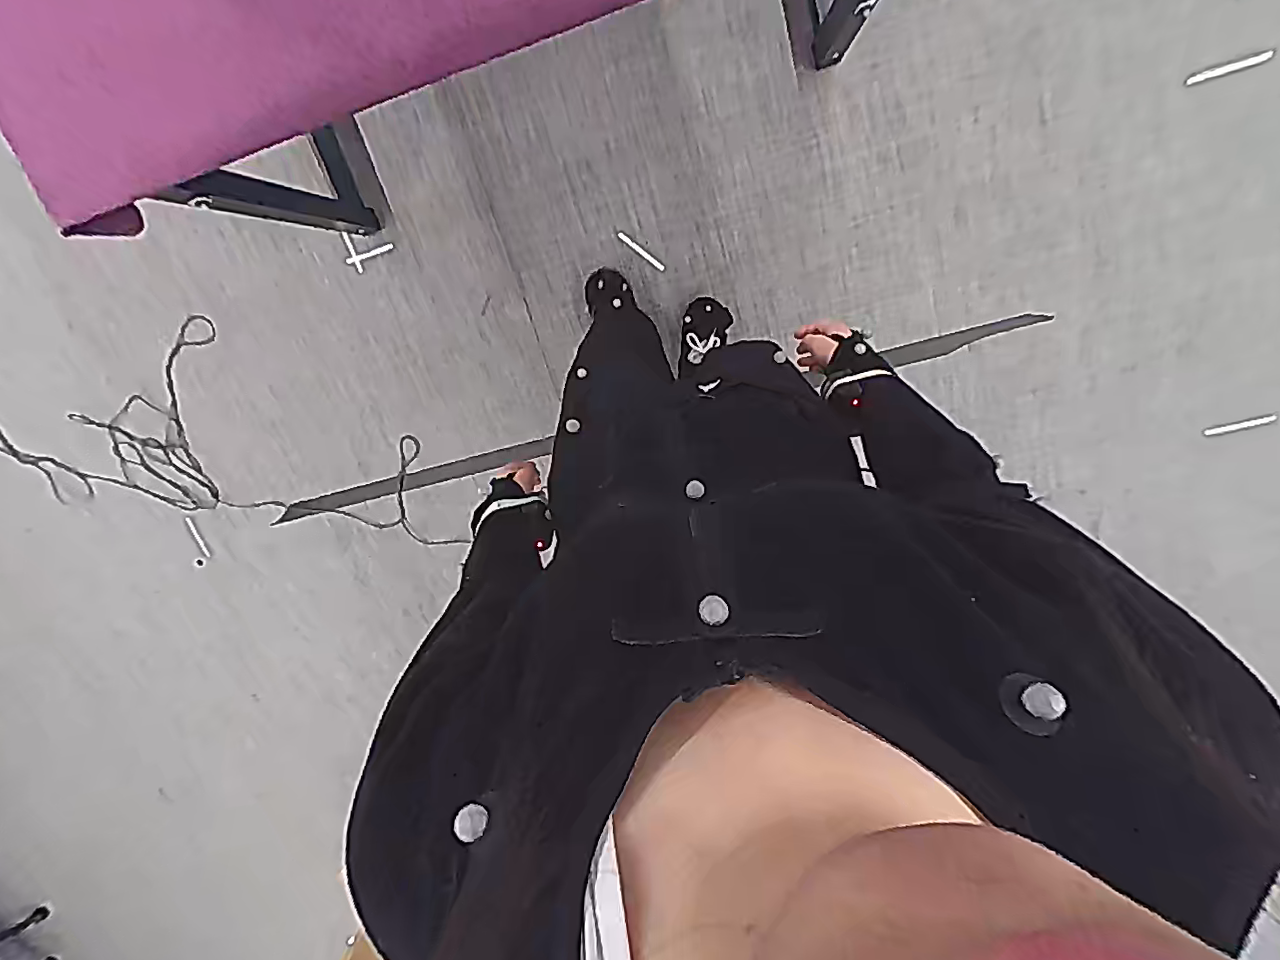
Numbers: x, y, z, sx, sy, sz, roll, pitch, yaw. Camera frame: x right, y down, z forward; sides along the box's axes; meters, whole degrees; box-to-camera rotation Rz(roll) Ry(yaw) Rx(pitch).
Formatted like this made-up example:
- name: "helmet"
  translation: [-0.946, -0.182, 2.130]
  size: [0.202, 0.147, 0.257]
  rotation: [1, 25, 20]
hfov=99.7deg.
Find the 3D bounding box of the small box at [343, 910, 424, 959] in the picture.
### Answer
- name: "small box"
  translation: [-0.718, 1.324, 1.460]
  size: [0.168, 0.176, 0.179]
  rotation: [32, 109, -6]
